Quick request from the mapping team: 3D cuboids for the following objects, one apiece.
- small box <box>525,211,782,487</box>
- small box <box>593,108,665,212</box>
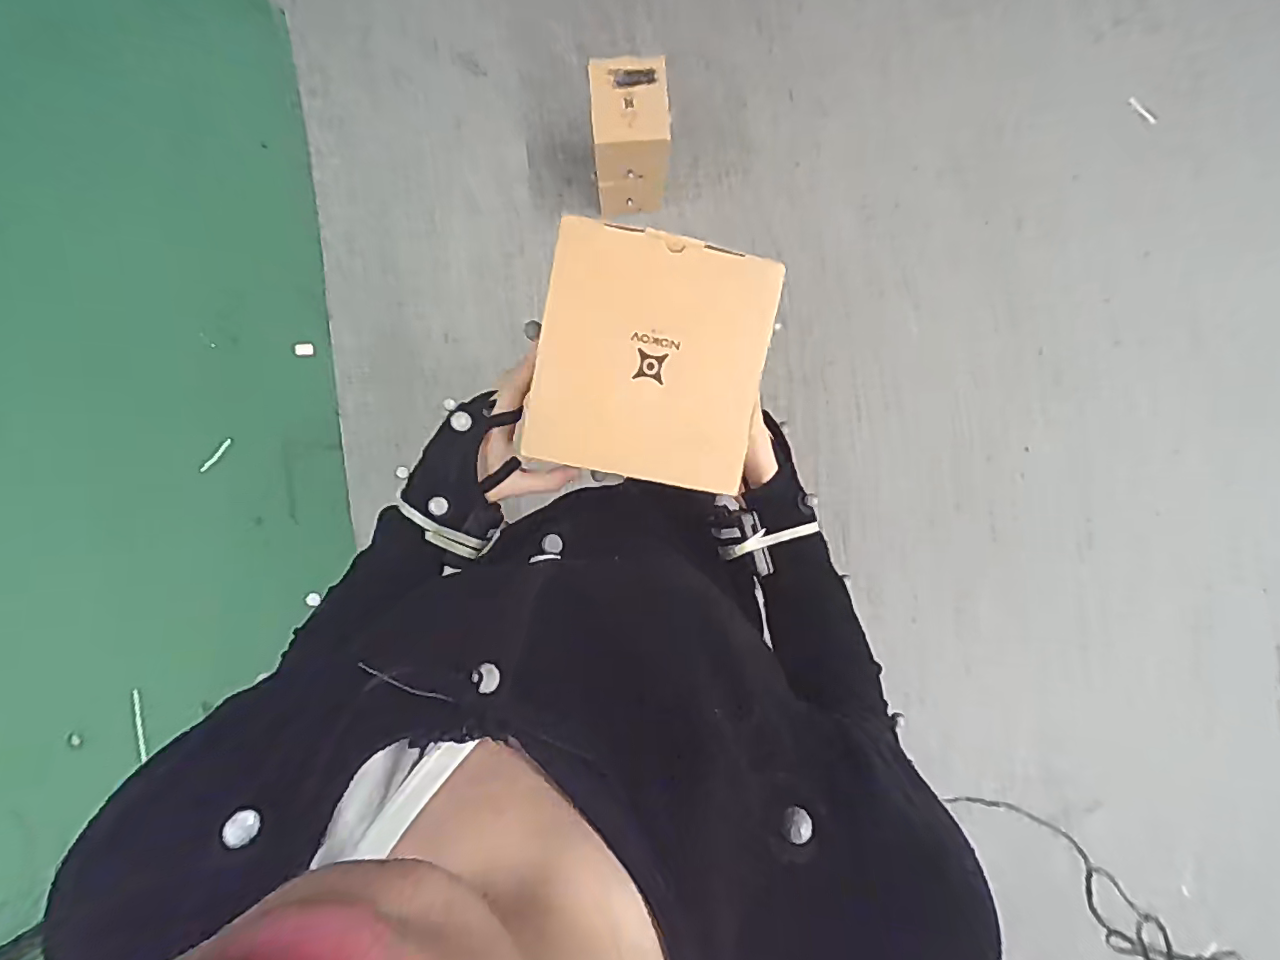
[{"bbox_3d":[0.006,-0.101,0.477,0.168,0.176,0.179,10,95,-4],"label":"small box"},{"bbox_3d":[-0.026,-0.807,1.387,0.168,0.176,0.179,-6,92,-1],"label":"small box"}]
